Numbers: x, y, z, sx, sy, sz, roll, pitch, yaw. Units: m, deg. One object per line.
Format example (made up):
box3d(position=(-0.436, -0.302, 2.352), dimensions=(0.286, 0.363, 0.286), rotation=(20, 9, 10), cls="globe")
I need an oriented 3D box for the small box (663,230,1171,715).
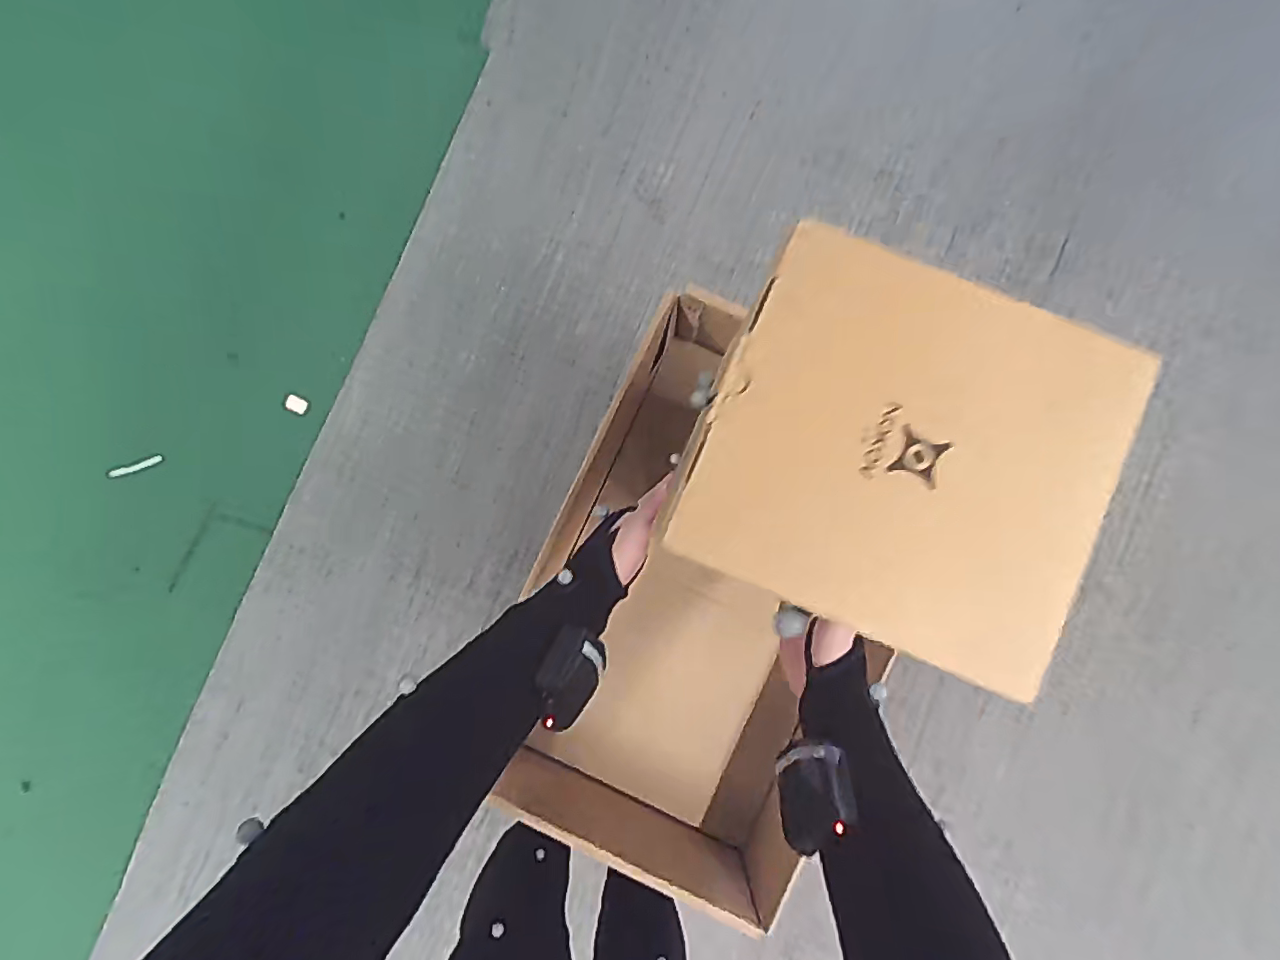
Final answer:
box3d(position=(0.123, -0.002, 0.316), dimensions=(0.179, 0.176, 0.168), rotation=(23, 87, 3), cls="small box")
